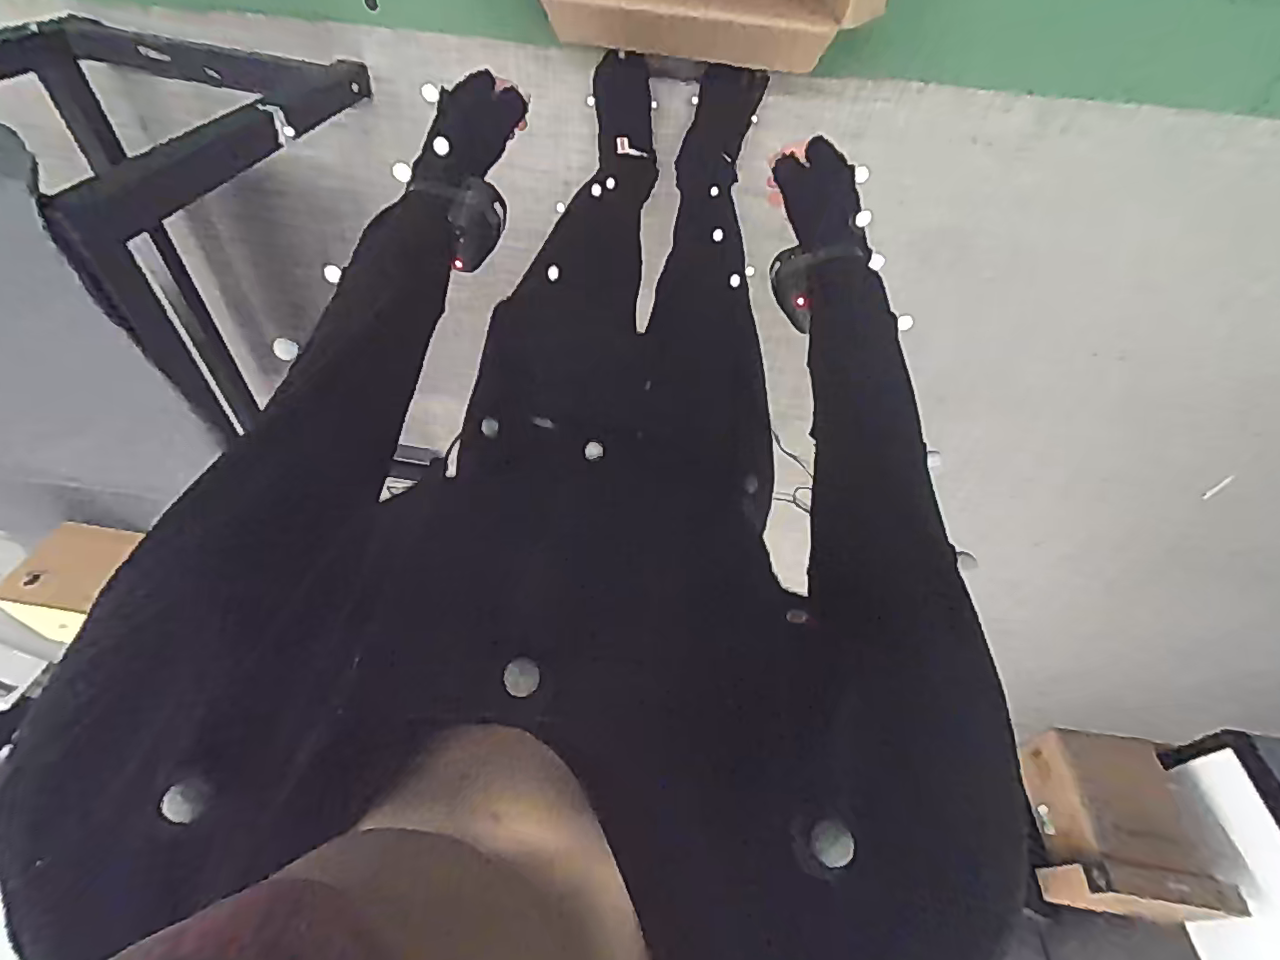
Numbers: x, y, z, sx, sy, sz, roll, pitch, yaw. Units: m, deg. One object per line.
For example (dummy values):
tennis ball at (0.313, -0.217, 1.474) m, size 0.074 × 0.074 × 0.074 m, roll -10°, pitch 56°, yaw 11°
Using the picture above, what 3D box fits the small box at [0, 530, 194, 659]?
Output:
small box at (-1.018, 0.214, 1.027) m, size 0.179 × 0.176 × 0.168 m, roll 9°, pitch 138°, yaw -2°
